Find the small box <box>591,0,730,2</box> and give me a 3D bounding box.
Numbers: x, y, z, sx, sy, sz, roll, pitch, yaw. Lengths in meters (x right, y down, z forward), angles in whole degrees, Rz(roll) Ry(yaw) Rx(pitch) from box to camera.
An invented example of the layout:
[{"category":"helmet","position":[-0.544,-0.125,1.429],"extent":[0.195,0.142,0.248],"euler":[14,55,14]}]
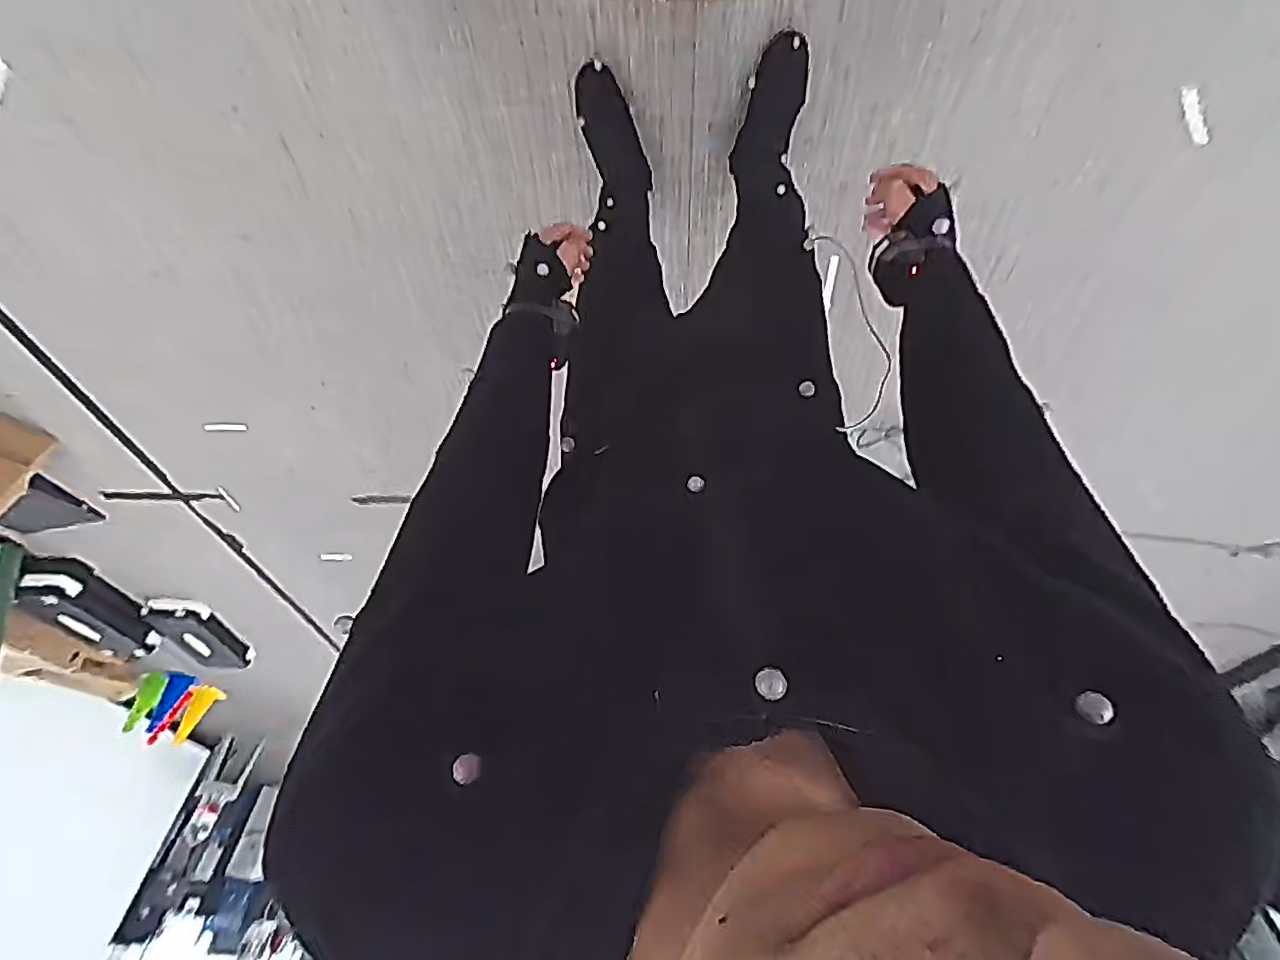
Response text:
[{"category":"small box","position":[0.027,-0.679,0.628],"extent":[0.179,0.176,0.168],"euler":[0,139,1]}]
